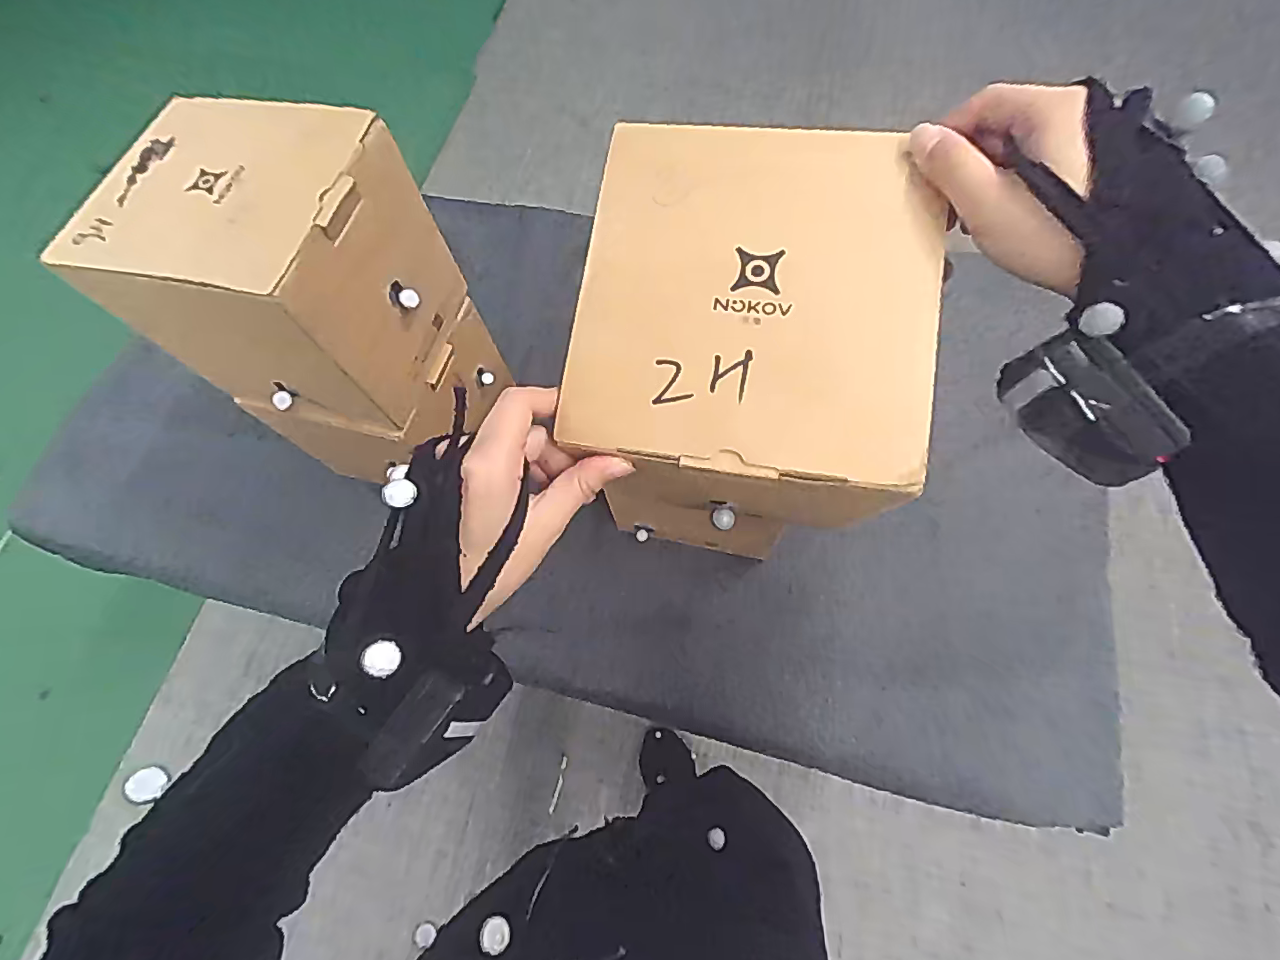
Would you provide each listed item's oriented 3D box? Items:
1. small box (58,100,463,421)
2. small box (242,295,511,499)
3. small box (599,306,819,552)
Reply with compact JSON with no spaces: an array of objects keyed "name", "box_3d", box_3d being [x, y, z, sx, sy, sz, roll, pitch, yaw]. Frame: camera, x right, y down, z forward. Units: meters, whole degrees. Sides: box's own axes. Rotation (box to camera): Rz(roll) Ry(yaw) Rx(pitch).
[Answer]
[{"name":"small box","box_3d":[-0.272,-0.165,0.441,0.179,0.176,0.168,11,67,8]},{"name":"small box","box_3d":[-0.261,-0.093,0.589,0.179,0.176,0.168,11,67,9]},{"name":"small box","box_3d":[0.069,-0.041,0.541,0.168,0.176,0.179,11,67,8]}]
